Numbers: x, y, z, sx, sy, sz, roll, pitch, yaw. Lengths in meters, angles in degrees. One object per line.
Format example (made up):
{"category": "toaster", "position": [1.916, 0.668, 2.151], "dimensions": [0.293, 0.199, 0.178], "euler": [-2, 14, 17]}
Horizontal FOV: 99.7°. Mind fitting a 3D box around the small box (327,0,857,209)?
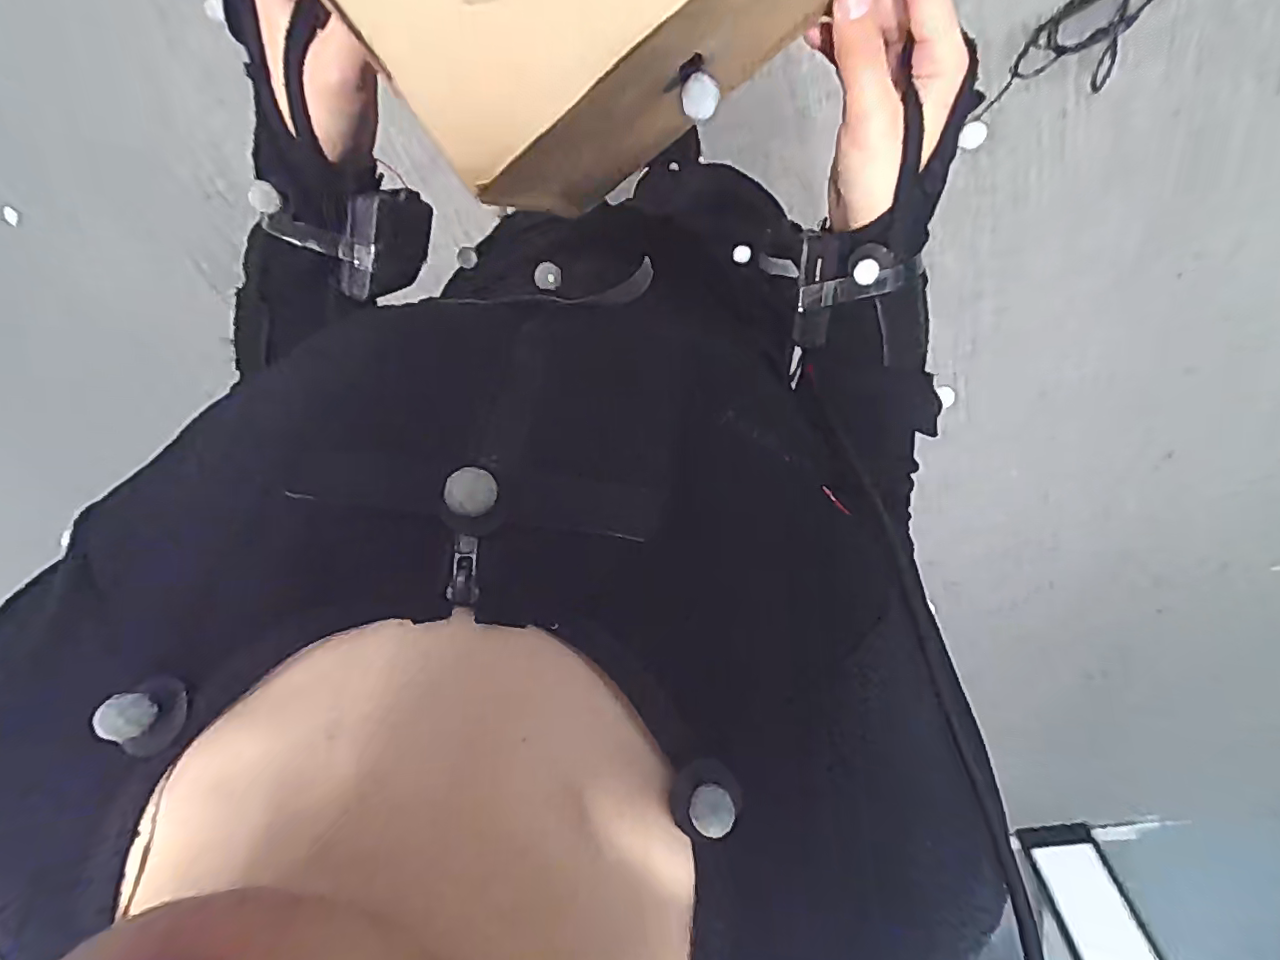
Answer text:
{"category": "small box", "position": [-0.012, -0.212, 0.174], "dimensions": [0.179, 0.176, 0.168], "euler": [-31, 108, 17]}
